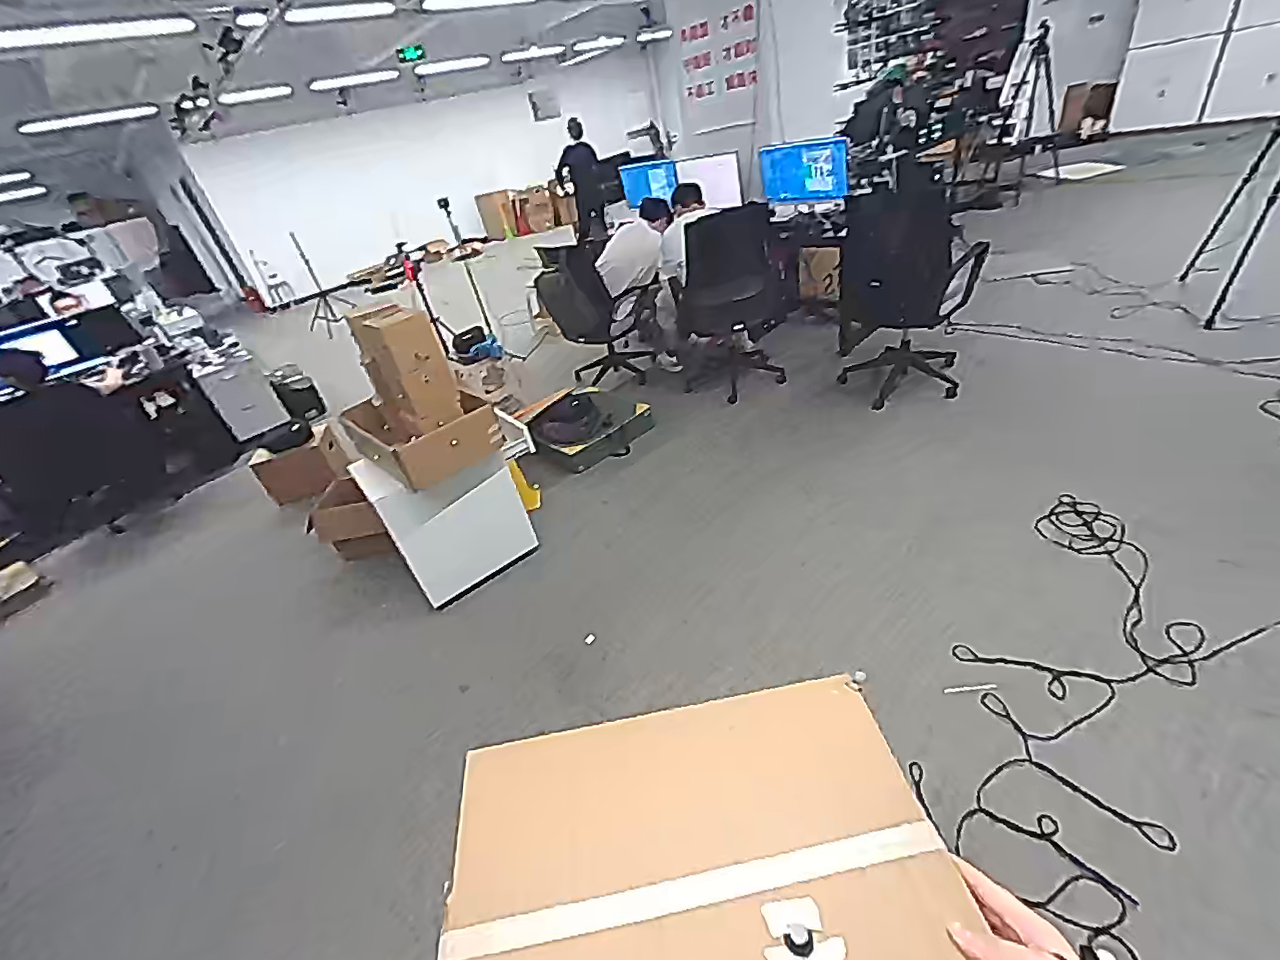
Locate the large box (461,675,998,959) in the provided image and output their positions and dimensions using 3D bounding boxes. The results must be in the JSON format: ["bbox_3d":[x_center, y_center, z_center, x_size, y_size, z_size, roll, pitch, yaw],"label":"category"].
[{"bbox_3d":[0.065,0.450,0.536,0.408,0.320,0.320,-9,37,-4],"label":"large box"}]
